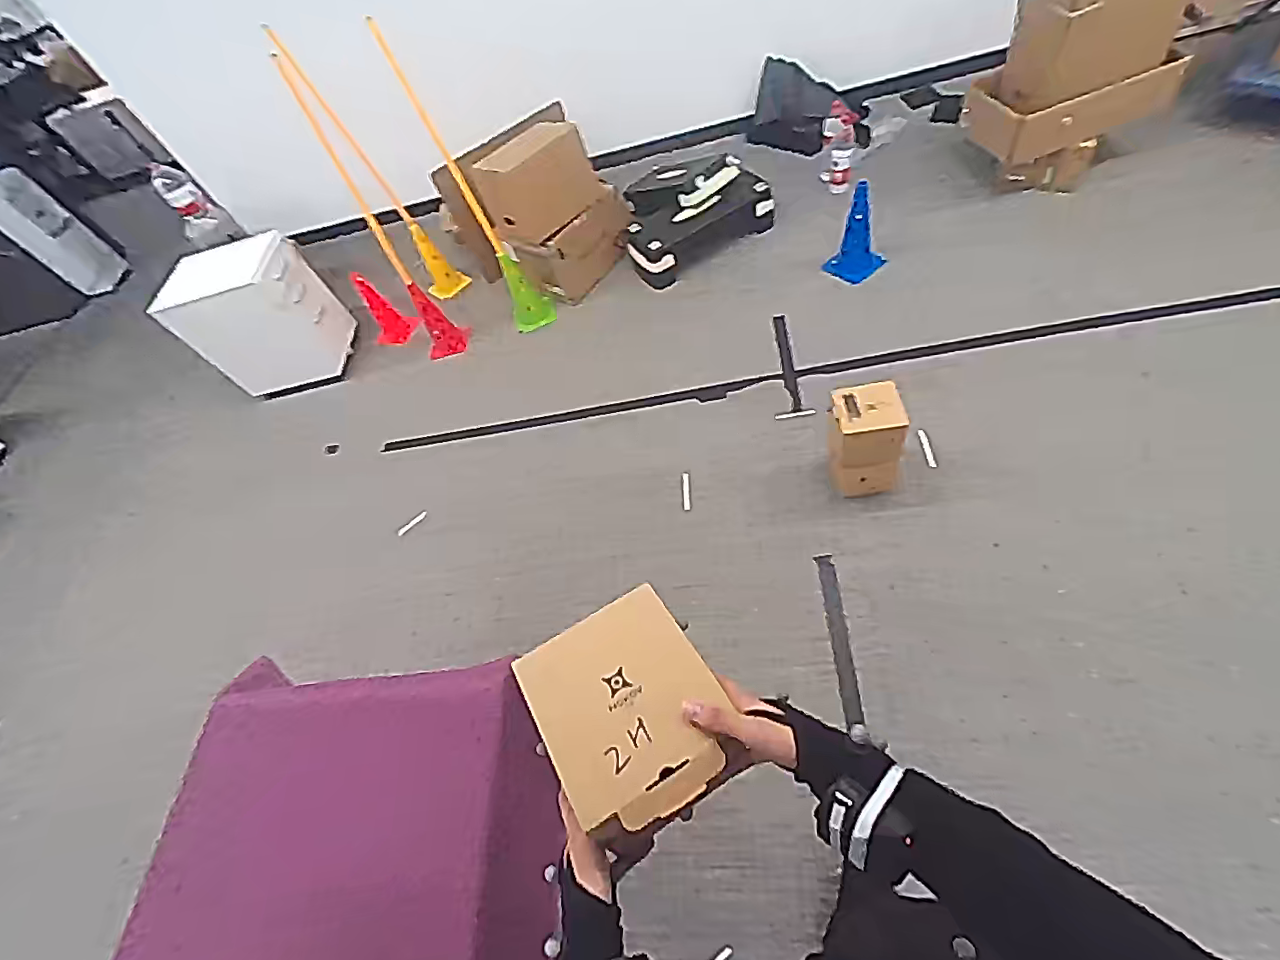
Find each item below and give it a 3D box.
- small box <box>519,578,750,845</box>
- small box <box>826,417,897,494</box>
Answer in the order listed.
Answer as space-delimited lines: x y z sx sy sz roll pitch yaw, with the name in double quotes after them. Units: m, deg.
-0.002 0.244 0.570 0.168 0.176 0.179 -29 51 -12 "small box"
0.694 -0.069 1.712 0.168 0.176 0.179 -11 55 9 "small box"
